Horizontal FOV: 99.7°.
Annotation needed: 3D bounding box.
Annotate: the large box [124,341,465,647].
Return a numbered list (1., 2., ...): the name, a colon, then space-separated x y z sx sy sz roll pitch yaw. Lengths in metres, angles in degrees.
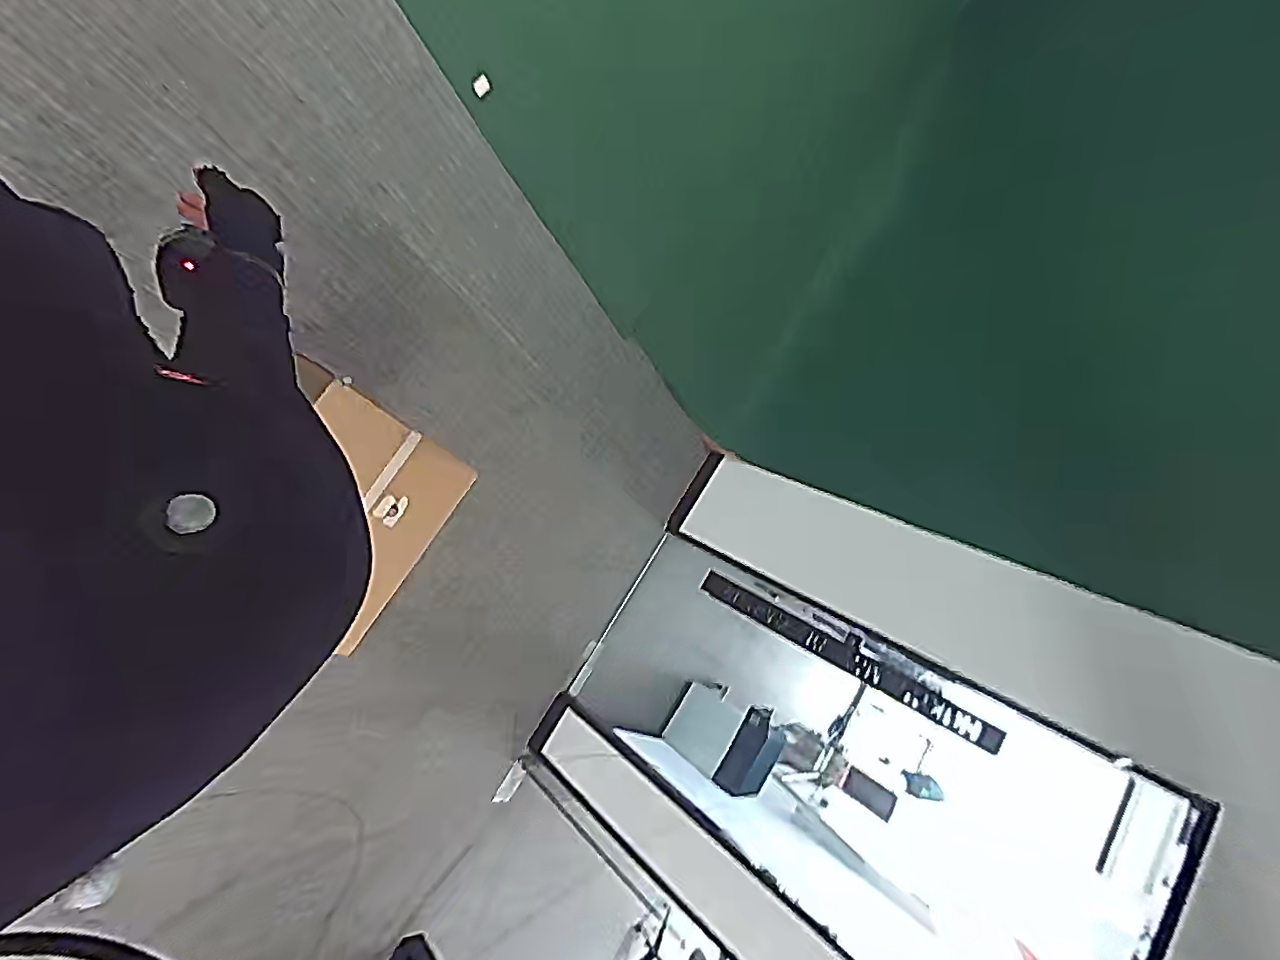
1. large box: -0.611 0.019 0.974 0.408 0.320 0.320 -57 140 -11
